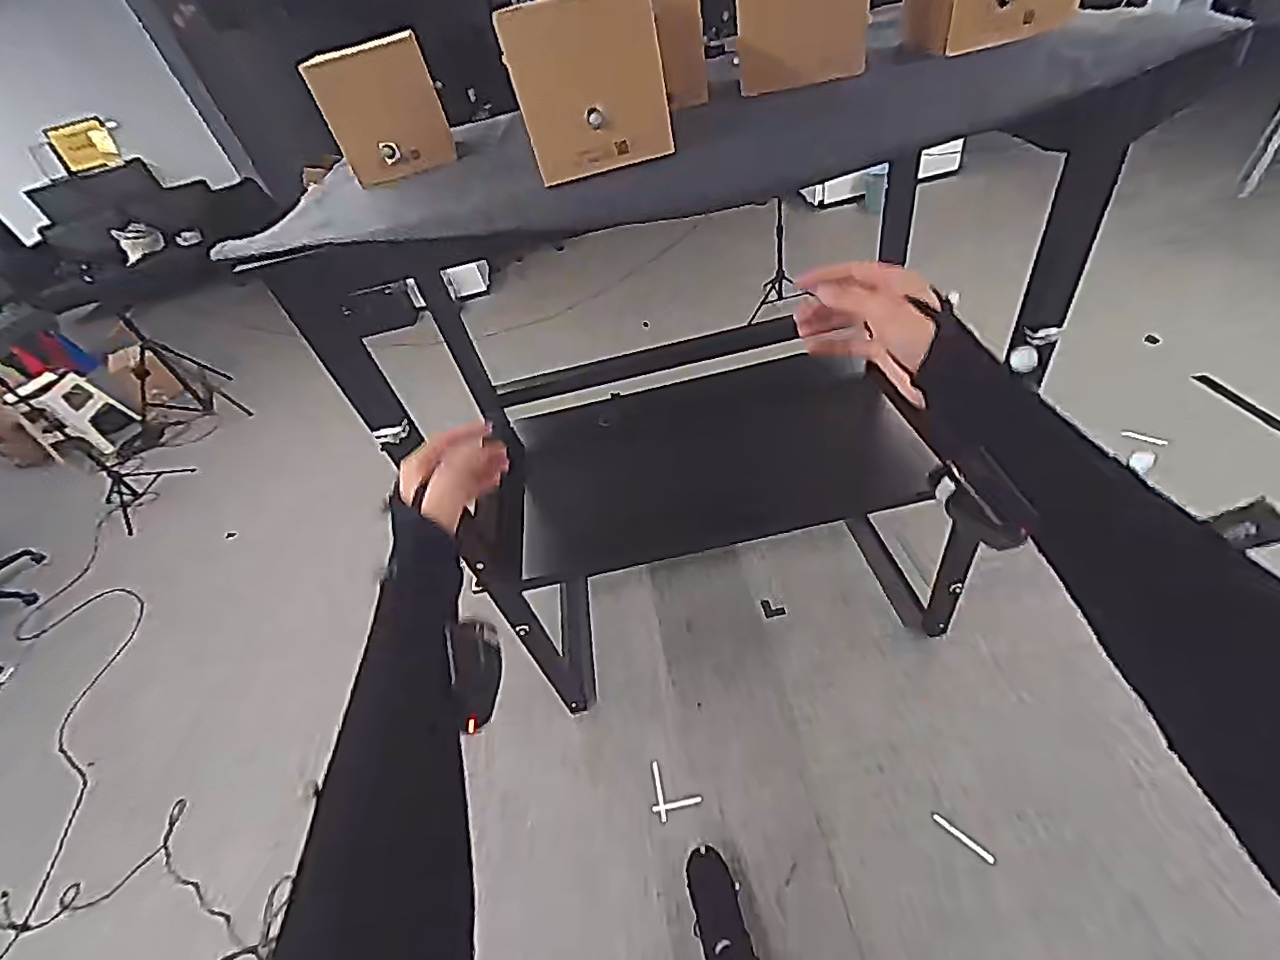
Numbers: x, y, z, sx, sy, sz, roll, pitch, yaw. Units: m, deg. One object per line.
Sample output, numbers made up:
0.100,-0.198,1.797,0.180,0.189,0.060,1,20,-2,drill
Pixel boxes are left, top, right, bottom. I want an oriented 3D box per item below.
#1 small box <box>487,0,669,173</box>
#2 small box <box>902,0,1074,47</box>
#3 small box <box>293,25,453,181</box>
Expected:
-0.065,-0.495,0.657,0.168,0.176,0.179,-12,42,6,small box
0.474,-0.711,0.730,0.168,0.176,0.179,-10,44,7,small box
-0.419,-0.611,0.881,0.168,0.176,0.179,-20,44,-4,small box
